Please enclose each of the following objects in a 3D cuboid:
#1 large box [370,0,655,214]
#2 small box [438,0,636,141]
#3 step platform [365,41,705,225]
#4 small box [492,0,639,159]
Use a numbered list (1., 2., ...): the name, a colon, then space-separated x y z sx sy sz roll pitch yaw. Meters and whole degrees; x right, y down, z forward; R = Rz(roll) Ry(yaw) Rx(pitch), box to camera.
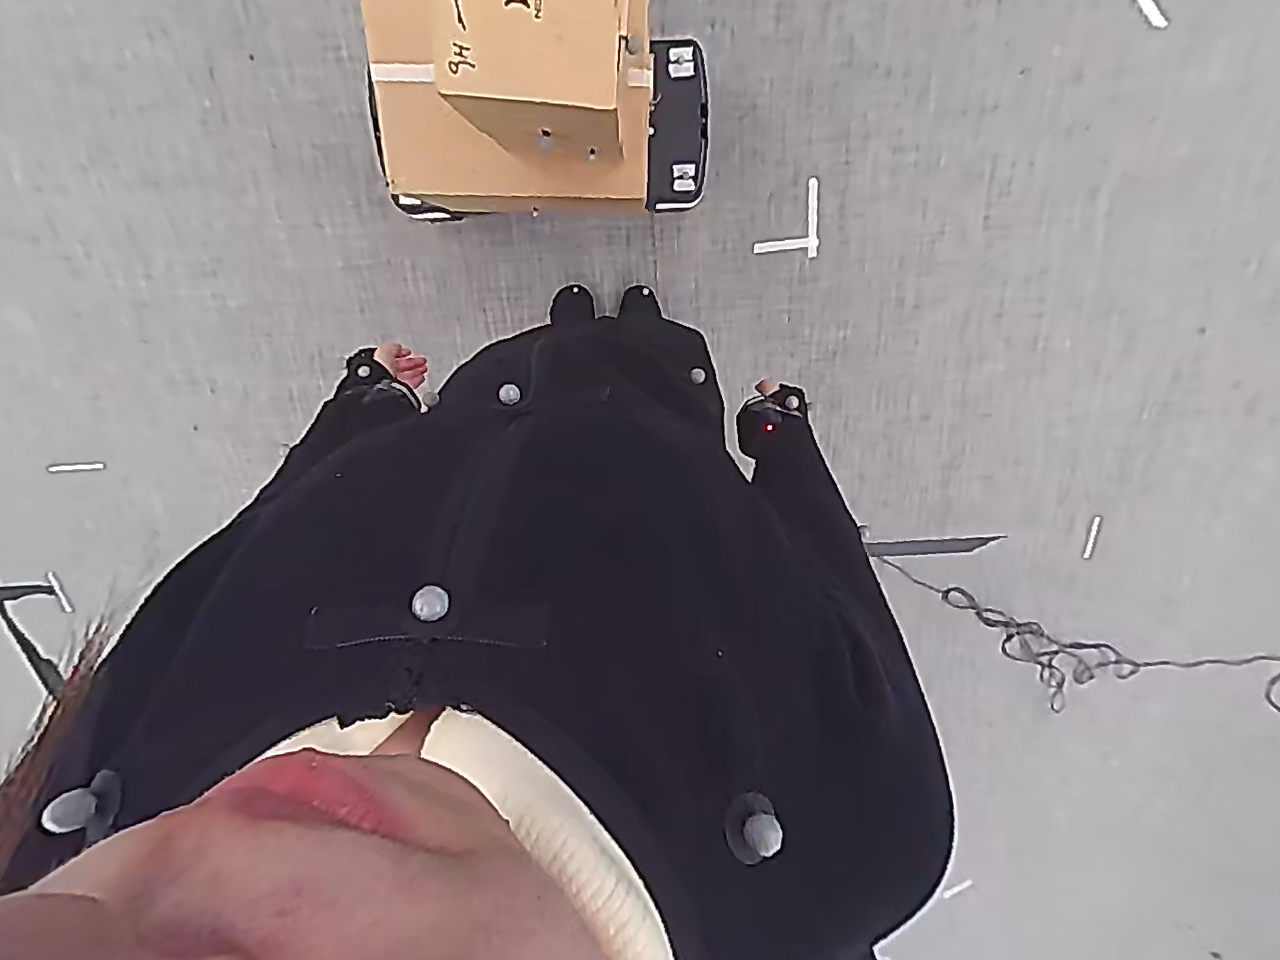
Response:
1. large box: -0.177 -0.636 0.921 0.408 0.320 0.320 1 110 0
2. small box: -0.094 -0.463 0.551 0.179 0.176 0.168 4 110 -3
3. step platform: -0.205 -0.718 1.144 0.684 0.204 0.286 3 111 -1
4. small box: -0.094 -0.528 0.702 0.179 0.176 0.168 3 111 -1
